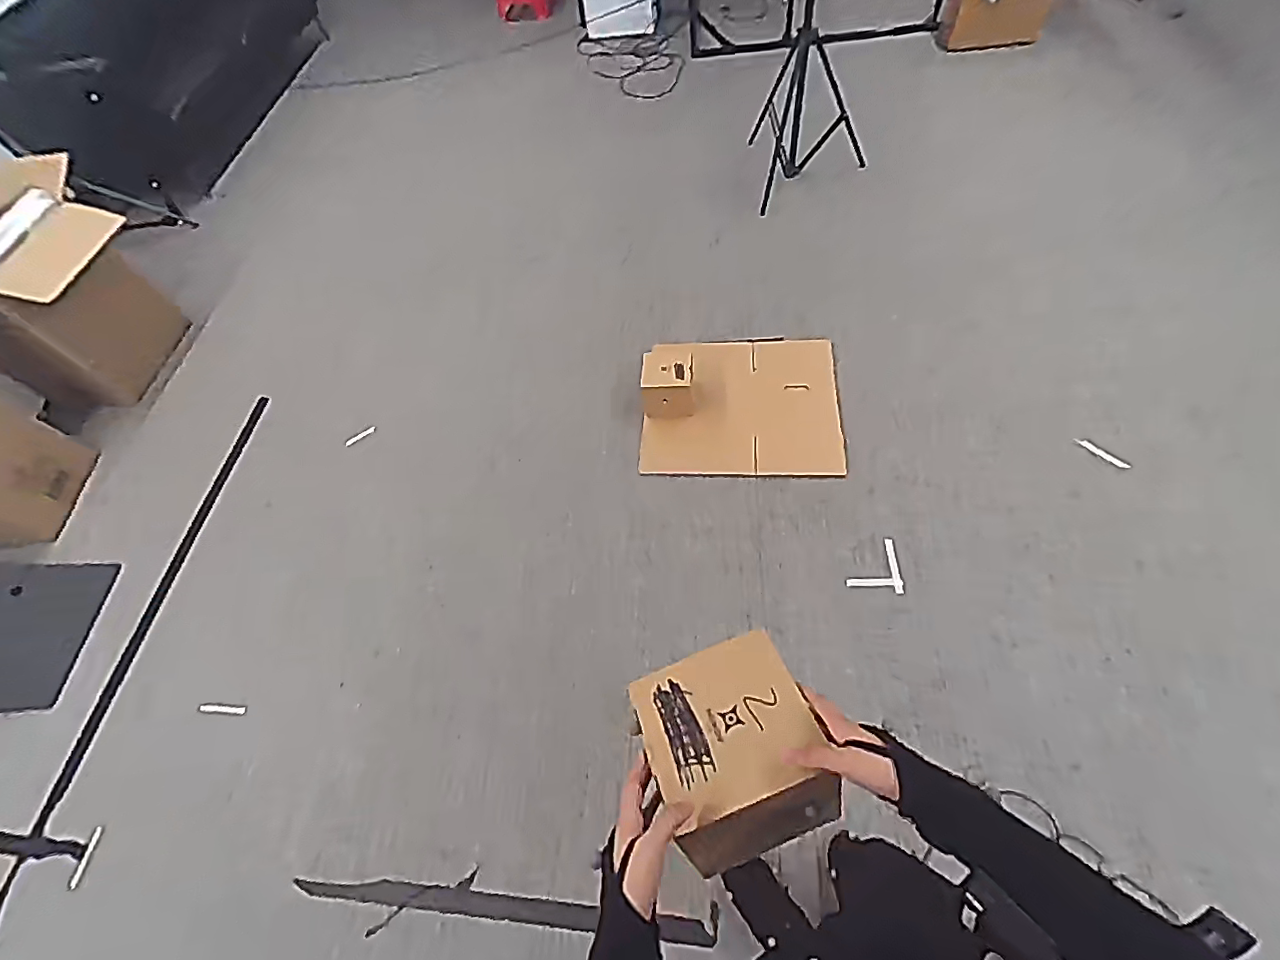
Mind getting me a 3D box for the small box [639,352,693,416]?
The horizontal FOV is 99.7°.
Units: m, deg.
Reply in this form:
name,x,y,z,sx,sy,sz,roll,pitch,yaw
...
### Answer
name,x,y,z,sx,sy,sz,roll,pitch,yaw
small box,0.099,-0.344,1.955,0.179,0.176,0.168,0,59,10
